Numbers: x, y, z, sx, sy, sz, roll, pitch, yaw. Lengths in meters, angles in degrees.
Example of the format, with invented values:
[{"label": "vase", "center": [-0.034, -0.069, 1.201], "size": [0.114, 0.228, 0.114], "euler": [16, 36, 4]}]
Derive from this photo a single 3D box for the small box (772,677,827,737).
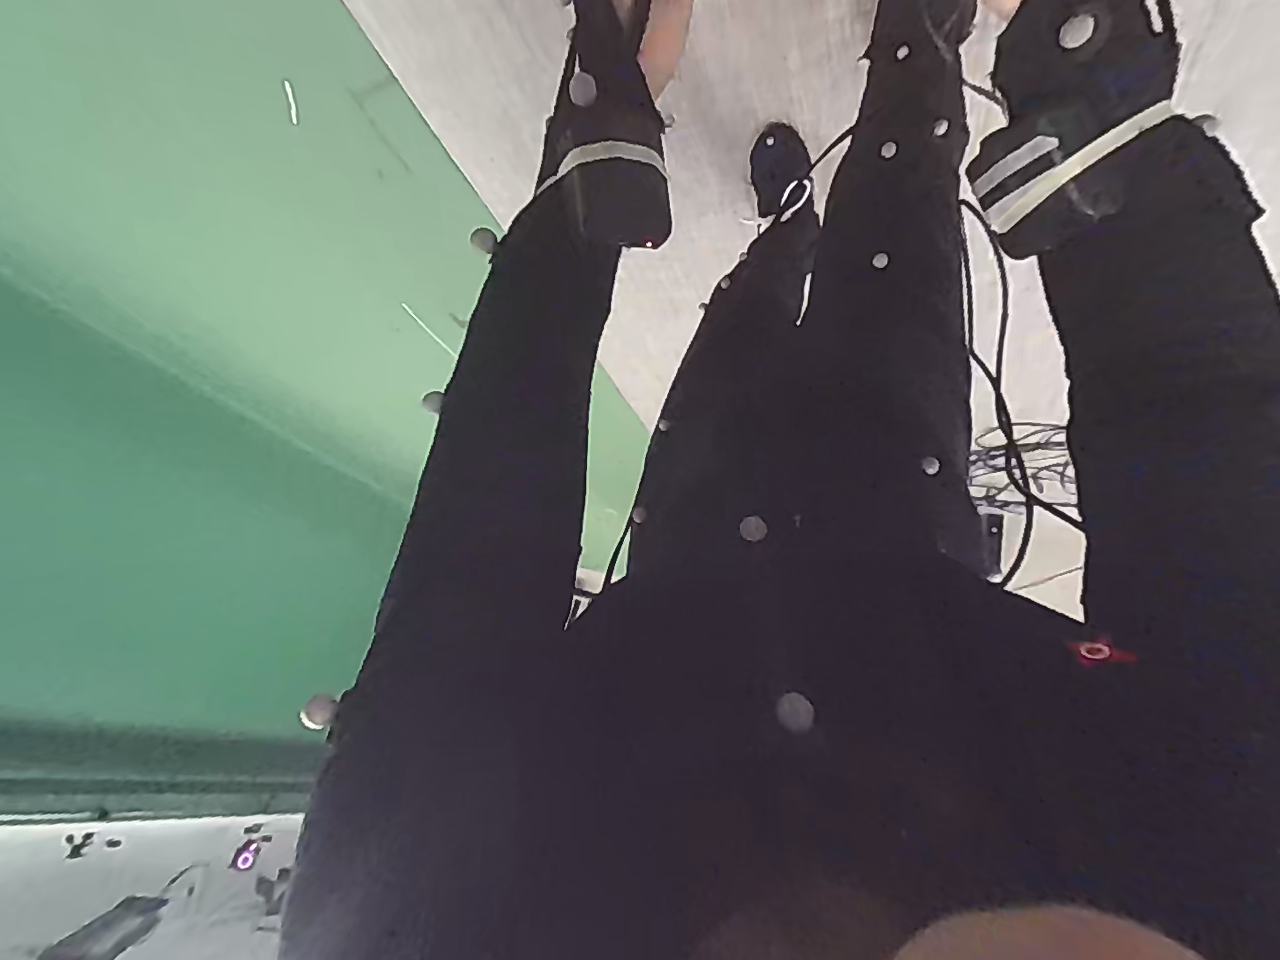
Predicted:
[{"label": "small box", "center": [0.613, 0.866, 2.070], "size": [0.168, 0.176, 0.179], "euler": [10, 159, 26]}]
